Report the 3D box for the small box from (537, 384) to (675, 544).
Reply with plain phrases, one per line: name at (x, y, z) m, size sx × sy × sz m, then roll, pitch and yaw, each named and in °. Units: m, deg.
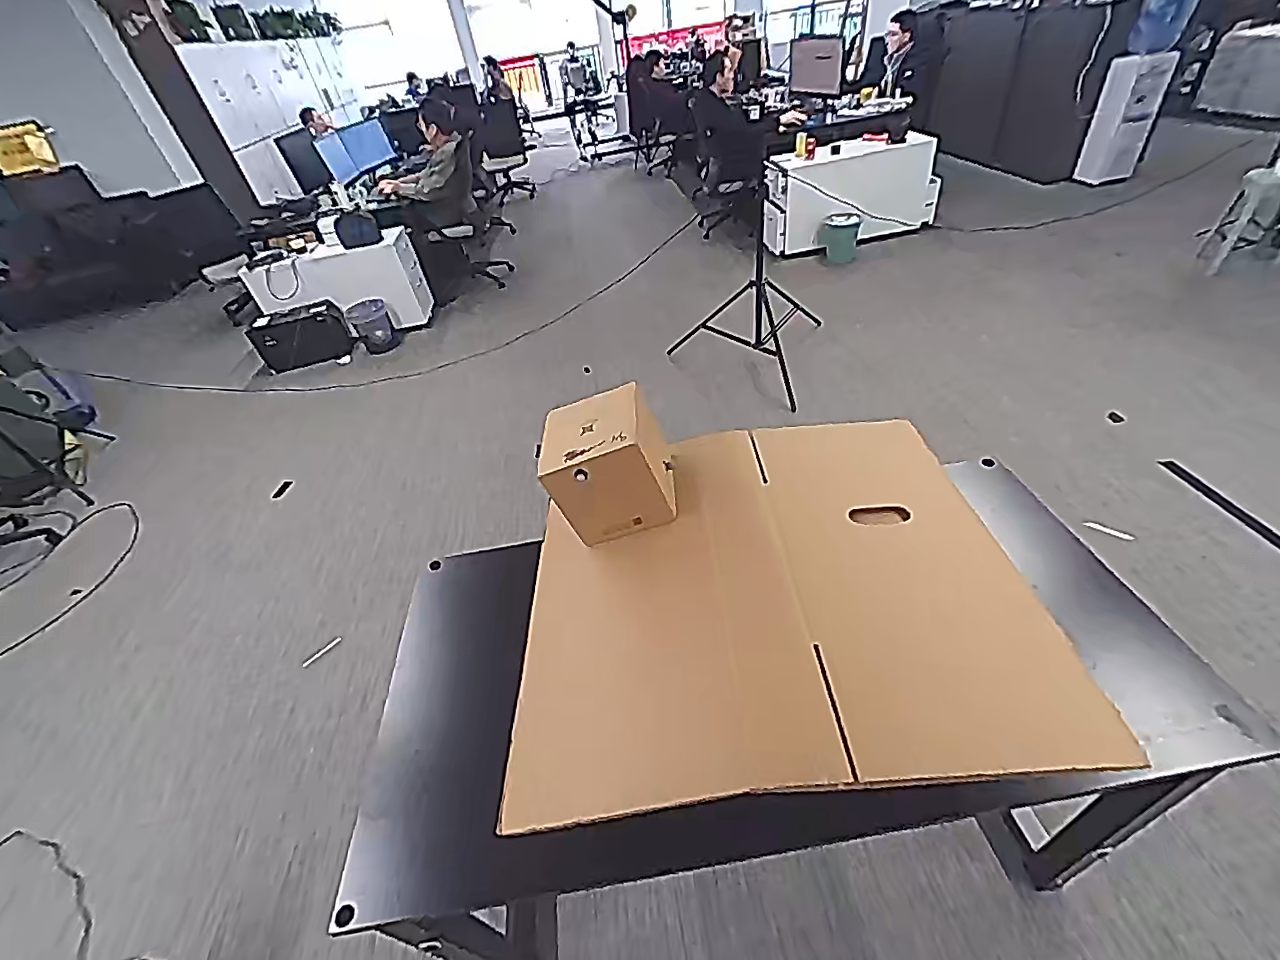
small box at (-0.048, -0.025, 0.897) m, size 0.168 × 0.176 × 0.179 m, roll -19°, pitch 37°, yaw 14°
